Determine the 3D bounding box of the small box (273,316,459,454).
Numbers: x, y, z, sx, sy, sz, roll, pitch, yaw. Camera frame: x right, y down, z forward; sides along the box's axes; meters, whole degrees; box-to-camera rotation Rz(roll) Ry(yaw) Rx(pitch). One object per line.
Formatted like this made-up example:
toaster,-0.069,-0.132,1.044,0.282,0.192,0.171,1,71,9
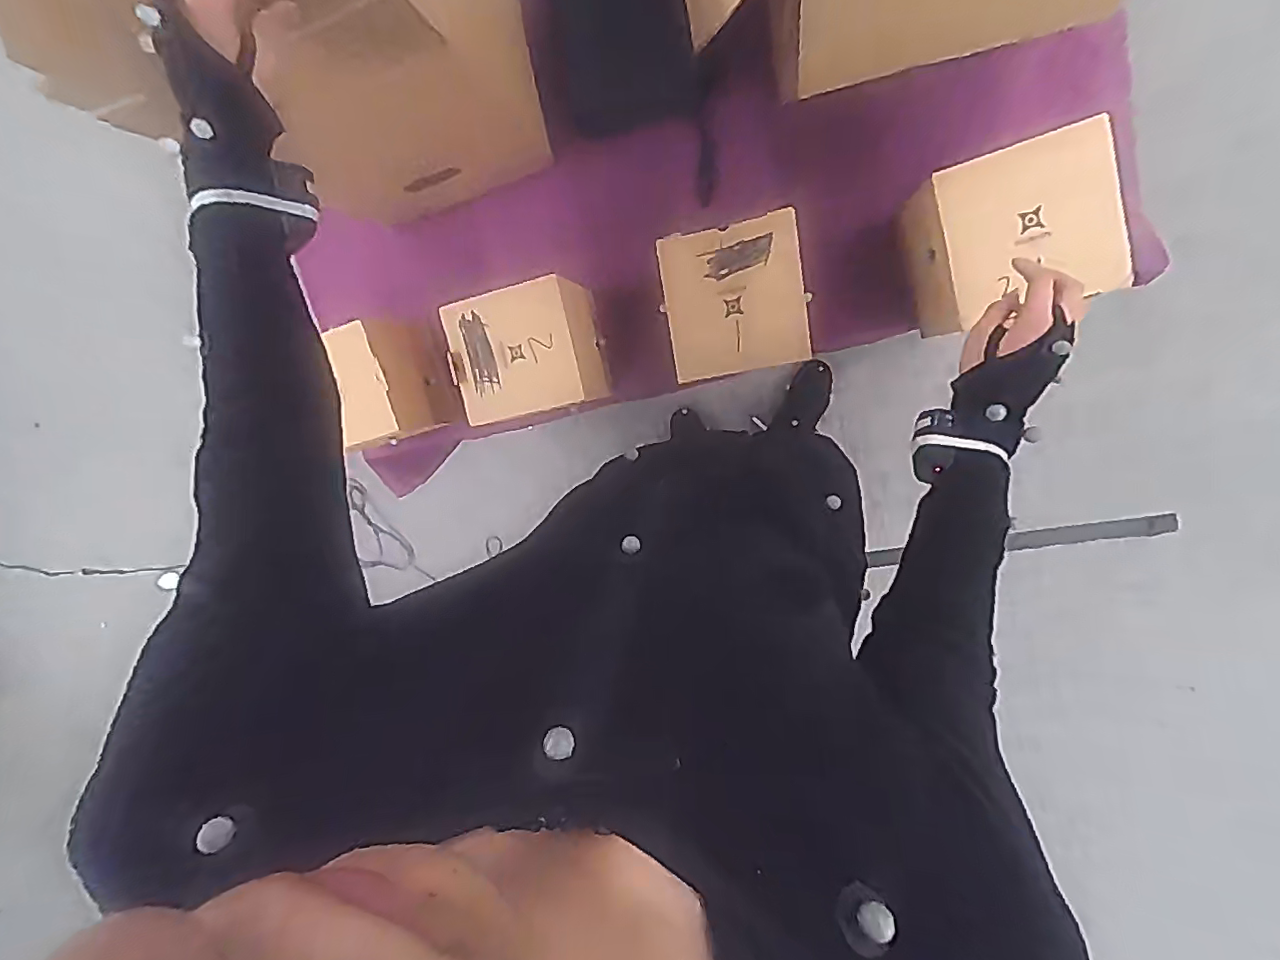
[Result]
small box,-0.425,-0.149,0.866,0.179,0.176,0.168,-14,99,14

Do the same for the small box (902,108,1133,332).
small box,0.430,-0.287,0.645,0.168,0.176,0.179,-14,99,16

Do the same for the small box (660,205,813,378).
small box,0.131,-0.237,0.724,0.168,0.176,0.179,-8,101,14
